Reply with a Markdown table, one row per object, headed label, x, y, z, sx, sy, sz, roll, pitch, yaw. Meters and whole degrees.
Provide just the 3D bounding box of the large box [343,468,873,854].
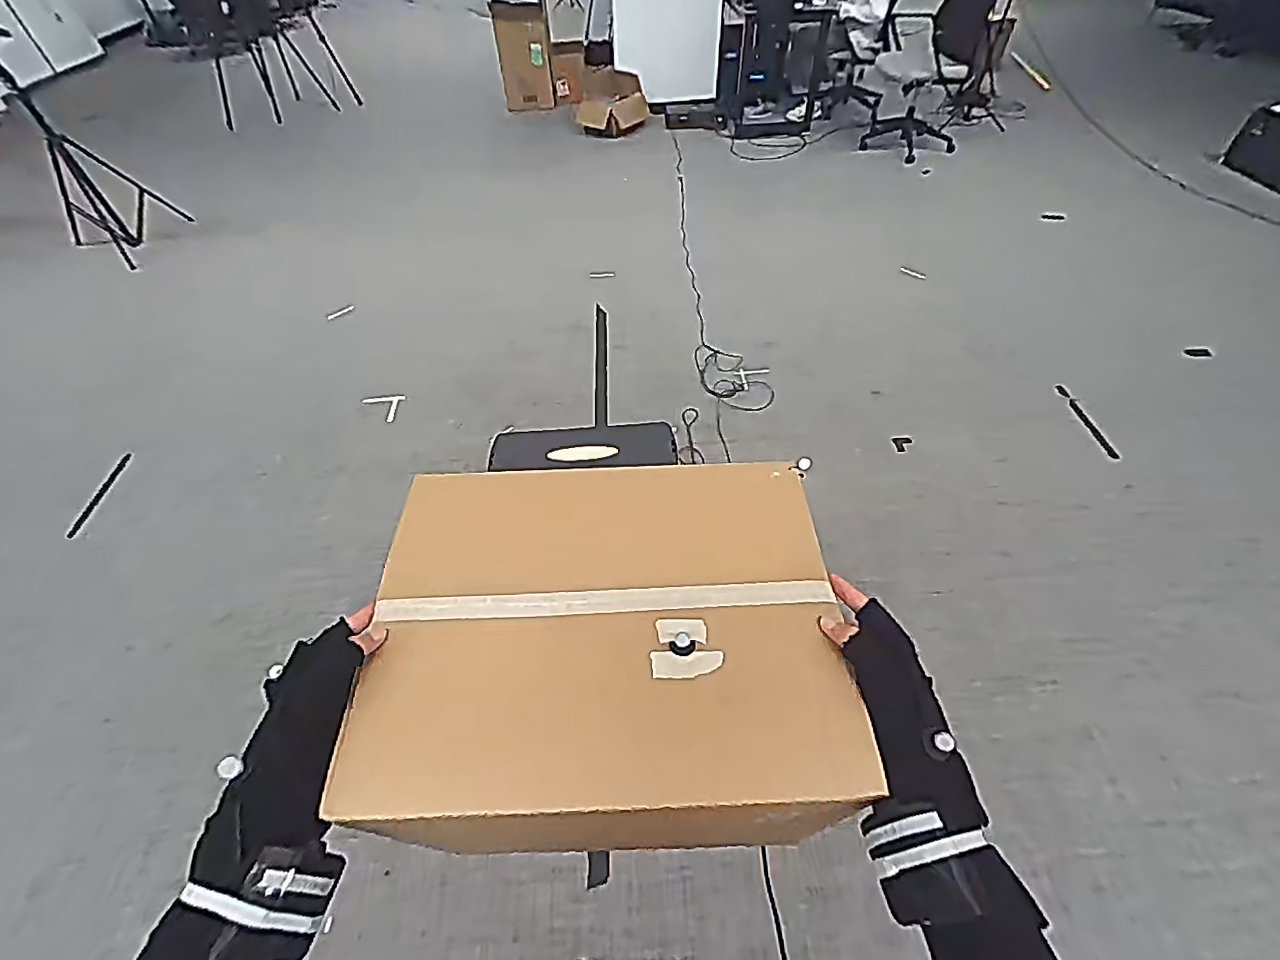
| label | x | y | z | sx | sy | sz | roll | pitch | yaw |
| --- | --- | --- | --- | --- | --- | --- | --- | --- | --- |
| large box | -0.027 | 0.208 | 0.606 | 0.408 | 0.320 | 0.320 | -2 | 51 | 0 |
